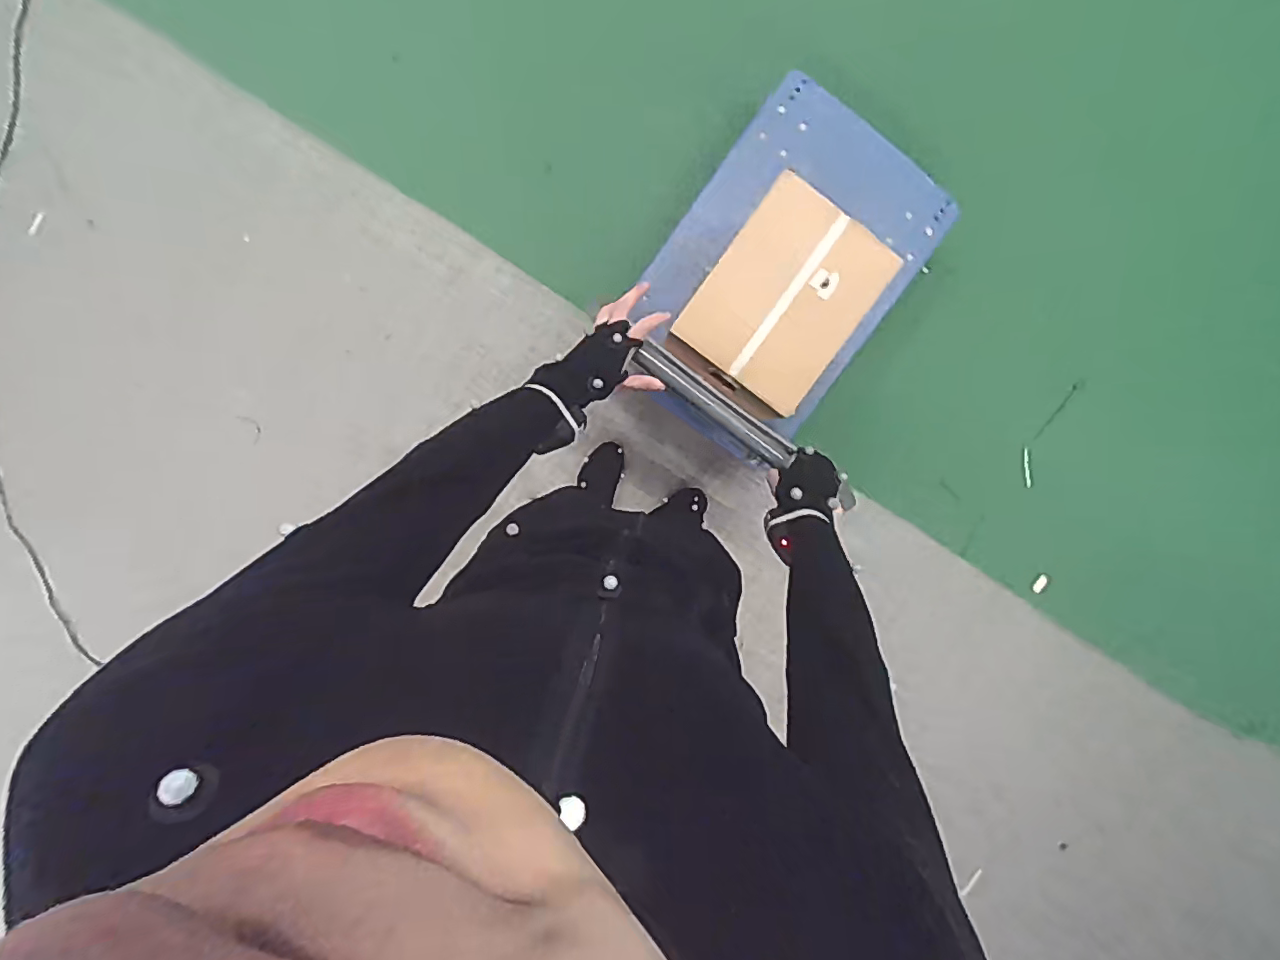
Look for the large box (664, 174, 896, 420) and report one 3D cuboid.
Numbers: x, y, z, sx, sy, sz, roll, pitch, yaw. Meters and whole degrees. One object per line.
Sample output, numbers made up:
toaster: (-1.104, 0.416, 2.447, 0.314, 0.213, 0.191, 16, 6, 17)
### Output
large box: (0.297, -0.392, 1.275, 0.320, 0.320, 0.408, 36, 93, -5)
